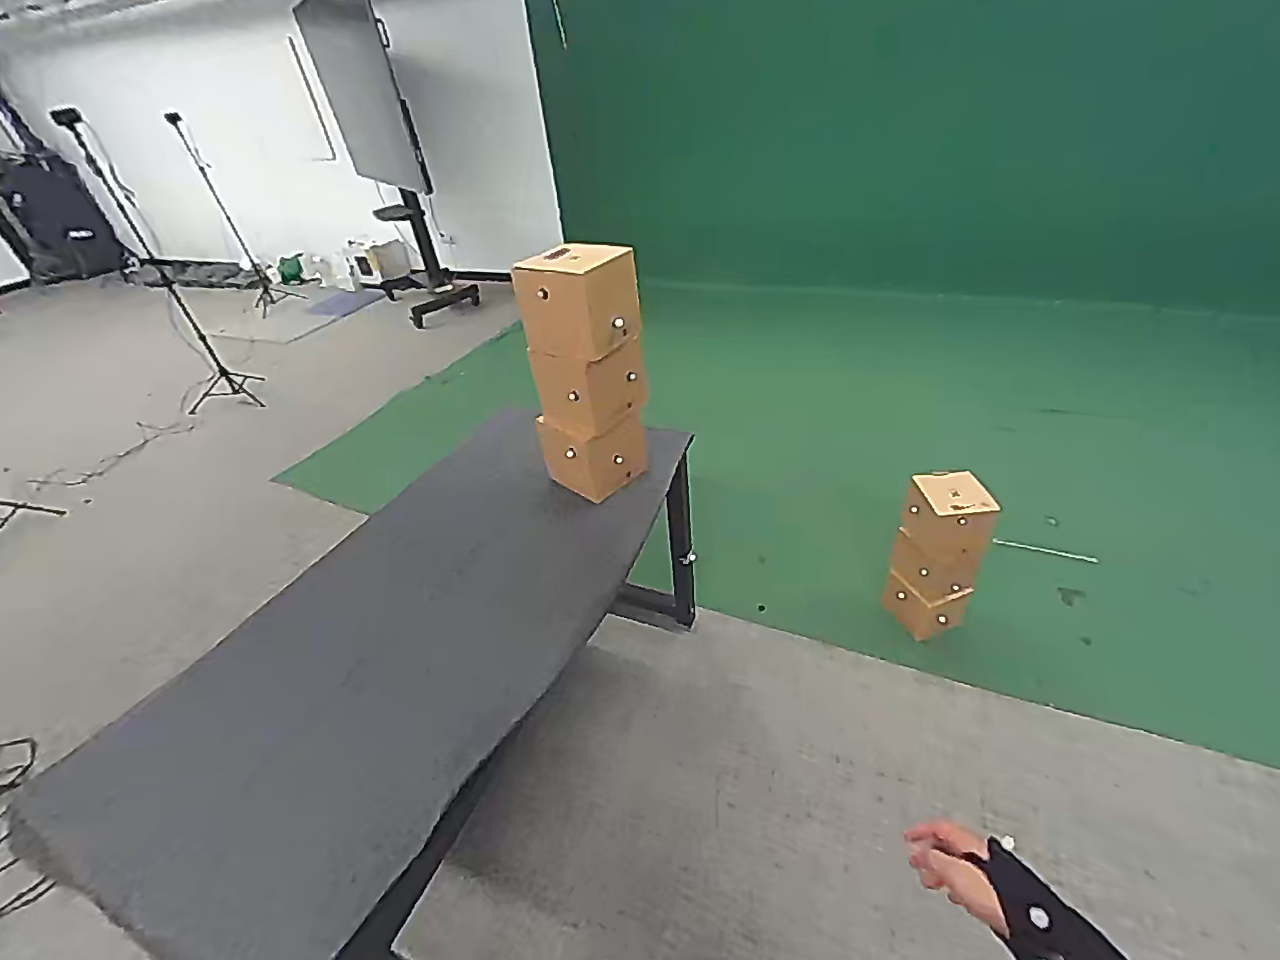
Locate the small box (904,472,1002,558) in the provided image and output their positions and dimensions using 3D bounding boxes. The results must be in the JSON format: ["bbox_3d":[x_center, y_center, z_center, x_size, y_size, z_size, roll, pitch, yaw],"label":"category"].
[{"bbox_3d":[0.871,0.098,1.526,0.168,0.176,0.179,-6,37,3],"label":"small box"}]

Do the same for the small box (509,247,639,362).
[{"bbox_3d":[-0.121,-0.345,1.058,0.179,0.176,0.168,17,43,29],"label":"small box"}]

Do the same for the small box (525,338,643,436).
[{"bbox_3d":[-0.111,-0.211,1.153,0.179,0.176,0.168,20,44,35],"label":"small box"}]

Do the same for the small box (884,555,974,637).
[{"bbox_3d":[0.904,0.371,1.708,0.168,0.176,0.179,-17,38,-13],"label":"small box"}]

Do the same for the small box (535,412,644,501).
[{"bbox_3d":[-0.110,-0.073,1.241,0.179,0.176,0.168,25,47,38],"label":"small box"}]
